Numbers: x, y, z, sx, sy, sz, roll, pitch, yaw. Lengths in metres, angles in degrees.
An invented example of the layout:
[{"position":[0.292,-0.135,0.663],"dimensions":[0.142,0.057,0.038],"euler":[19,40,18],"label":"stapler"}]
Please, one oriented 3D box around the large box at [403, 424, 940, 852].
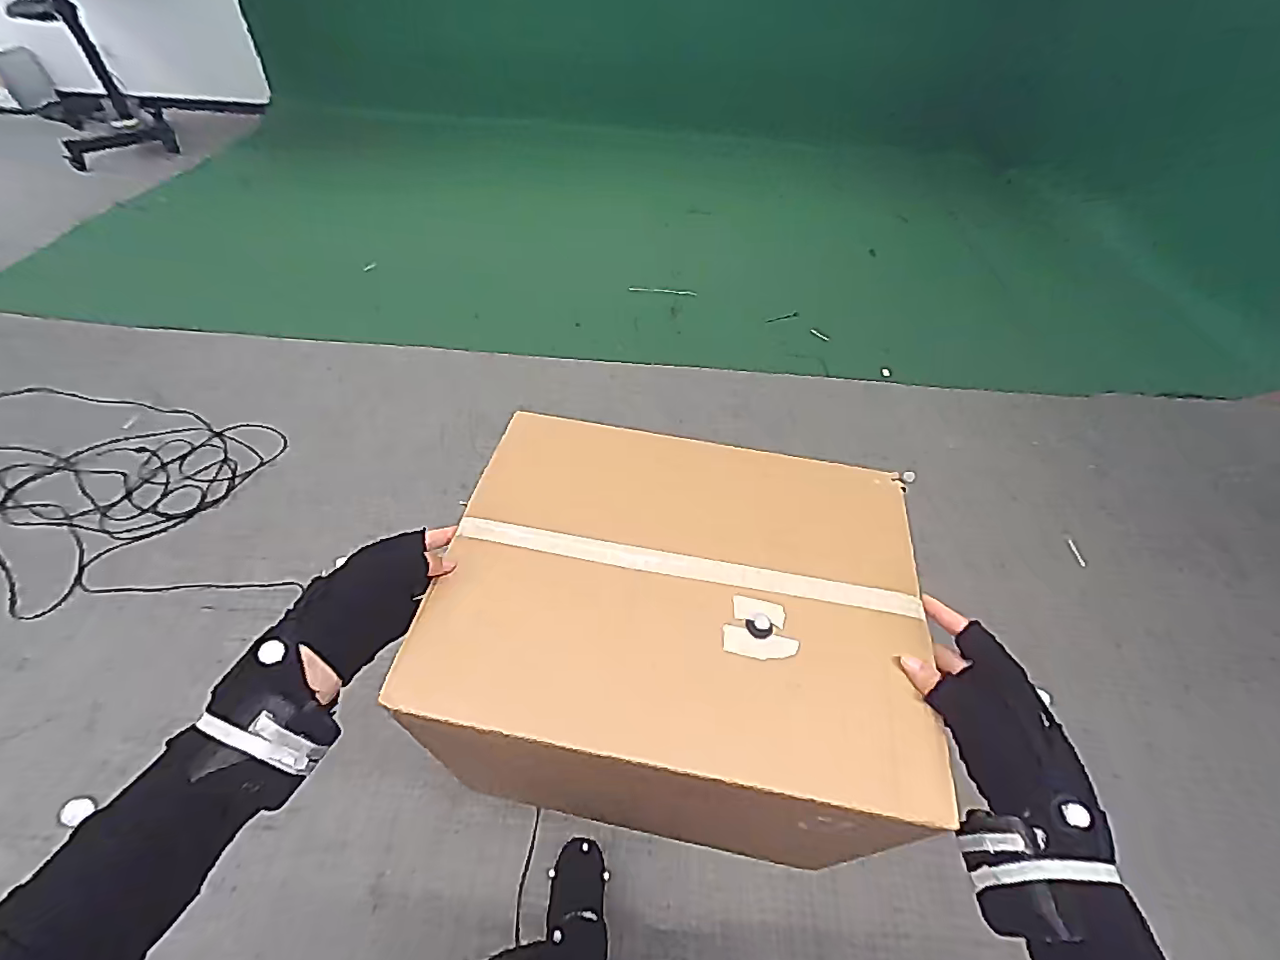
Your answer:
[{"position":[0.032,0.176,0.597],"dimensions":[0.408,0.320,0.320],"euler":[9,51,5],"label":"large box"}]
